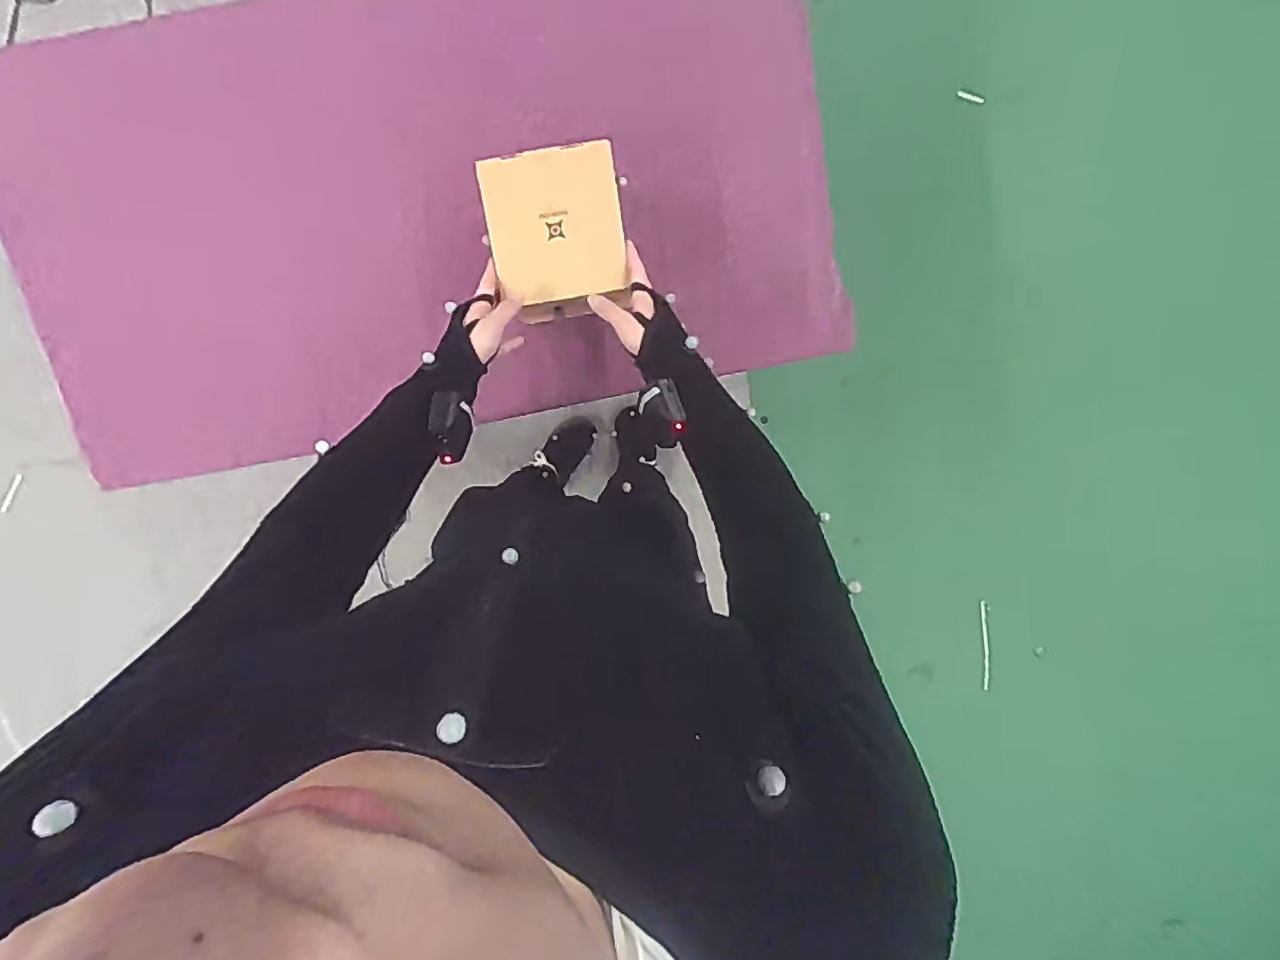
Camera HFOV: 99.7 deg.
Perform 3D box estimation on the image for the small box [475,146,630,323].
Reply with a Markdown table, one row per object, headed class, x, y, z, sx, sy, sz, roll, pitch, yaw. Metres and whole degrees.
| class | x | y | z | sx | sy | sz | roll | pitch | yaw |
| --- | --- | --- | --- | --- | --- | --- | --- | --- | --- |
| small box | -0.107 | -0.319 | 0.744 | 0.168 | 0.176 | 0.179 | -9 | 98 | 2 |
